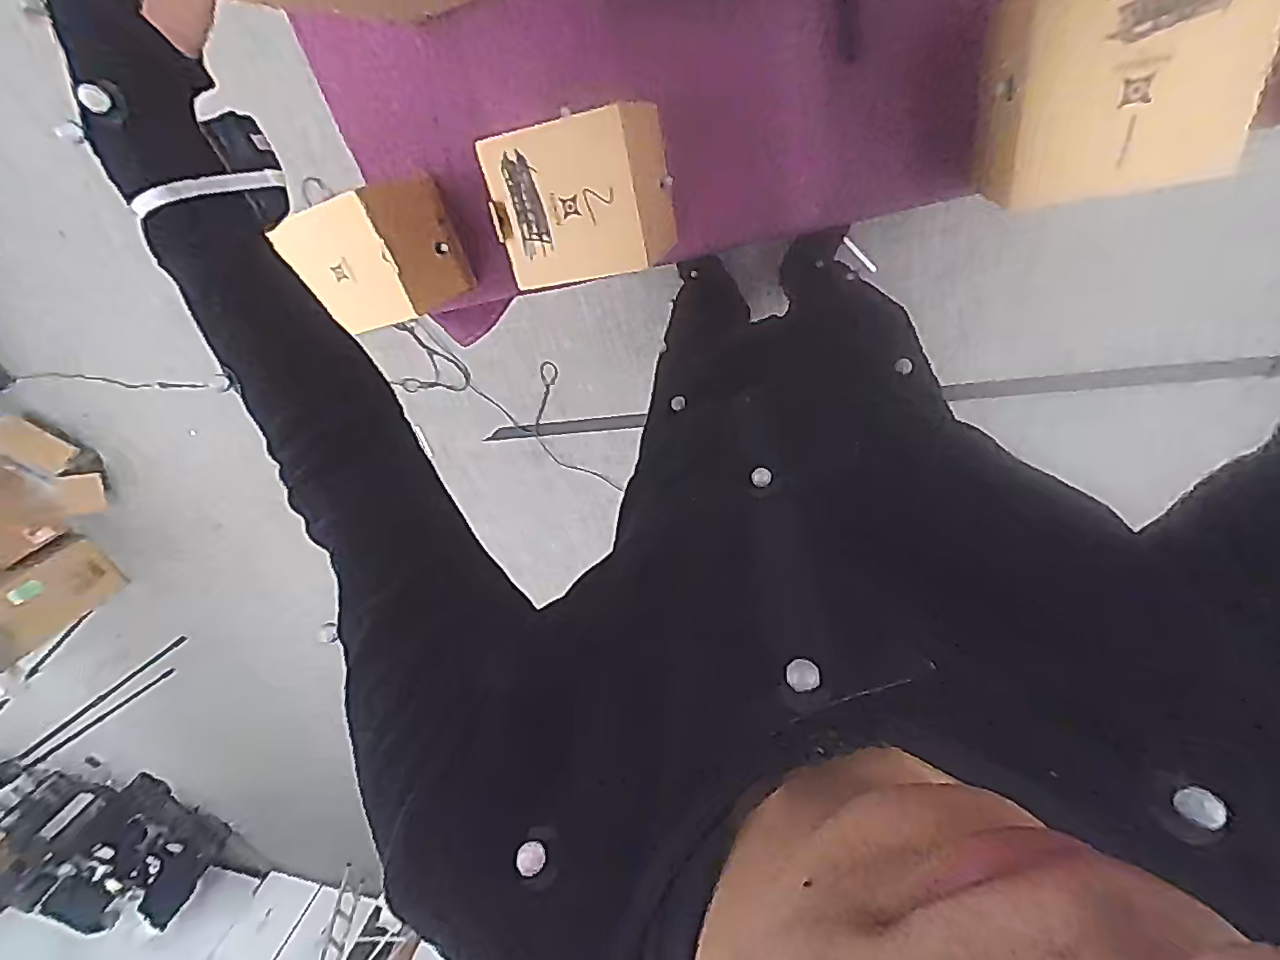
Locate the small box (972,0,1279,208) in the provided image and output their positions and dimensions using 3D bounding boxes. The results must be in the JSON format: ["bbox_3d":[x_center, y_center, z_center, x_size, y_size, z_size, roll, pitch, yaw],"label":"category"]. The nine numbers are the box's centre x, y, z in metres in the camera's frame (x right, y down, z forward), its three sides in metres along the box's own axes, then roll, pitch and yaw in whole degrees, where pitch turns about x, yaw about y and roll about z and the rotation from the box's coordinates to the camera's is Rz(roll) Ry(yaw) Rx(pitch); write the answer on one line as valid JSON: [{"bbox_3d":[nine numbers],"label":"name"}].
[{"bbox_3d":[0.424,-0.371,0.500,0.168,0.176,0.179,-1,123,20],"label":"small box"}]

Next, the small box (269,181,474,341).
[{"bbox_3d":[-0.385,-0.327,0.804,0.179,0.176,0.168,-8,120,21],"label":"small box"}]
